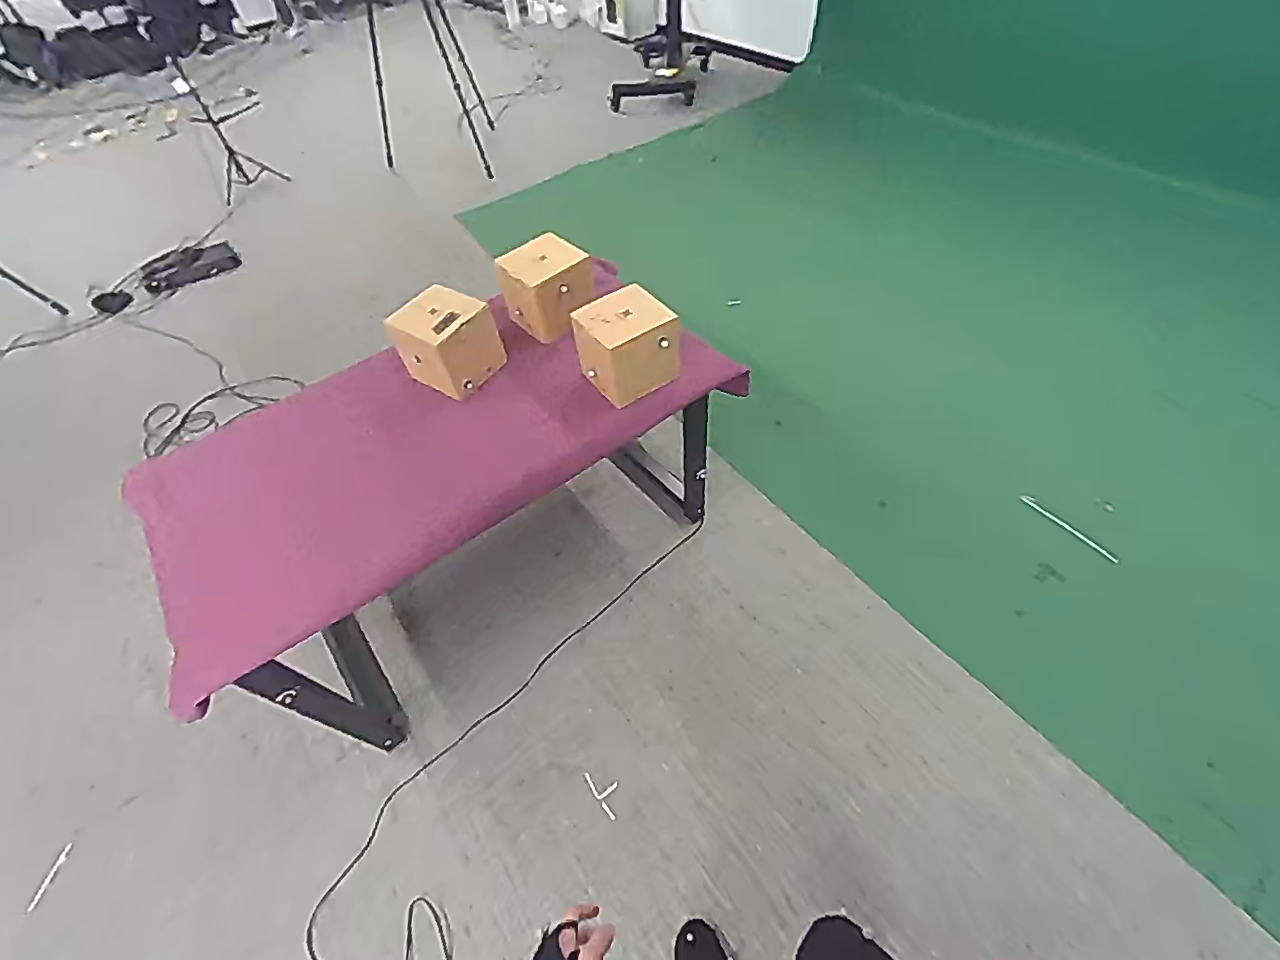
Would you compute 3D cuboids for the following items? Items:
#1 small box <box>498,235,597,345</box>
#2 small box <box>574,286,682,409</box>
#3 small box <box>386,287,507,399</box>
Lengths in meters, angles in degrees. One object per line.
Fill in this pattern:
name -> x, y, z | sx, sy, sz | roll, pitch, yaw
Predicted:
small box -> -0.223, -0.477, 1.364 | 0.179, 0.176, 0.168 | -39, 60, -20
small box -> -0.022, -0.292, 1.201 | 0.179, 0.176, 0.168 | -30, 55, -15
small box -> -0.440, -0.314, 1.262 | 0.179, 0.176, 0.168 | 26, 60, 23
